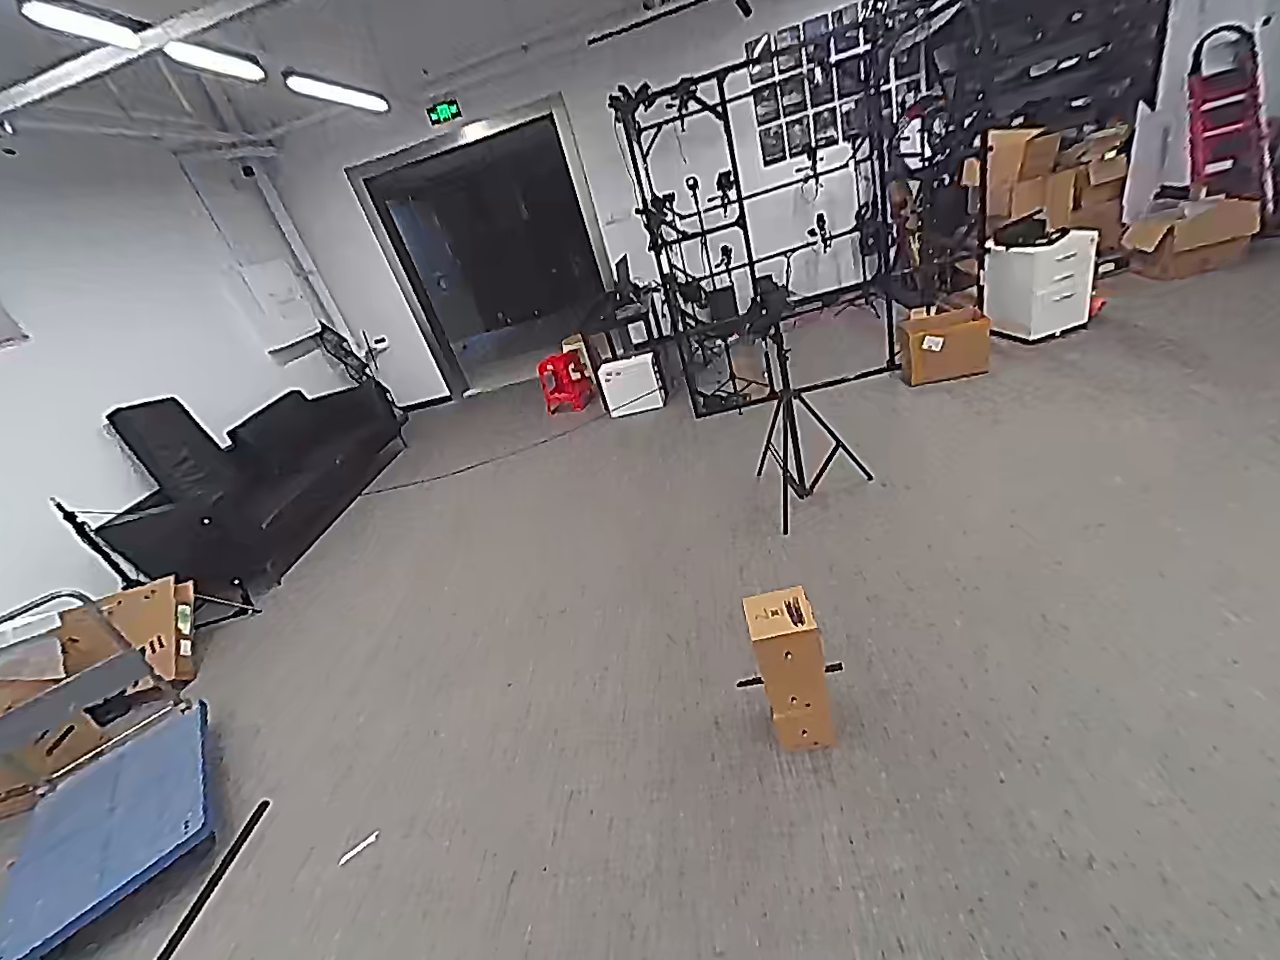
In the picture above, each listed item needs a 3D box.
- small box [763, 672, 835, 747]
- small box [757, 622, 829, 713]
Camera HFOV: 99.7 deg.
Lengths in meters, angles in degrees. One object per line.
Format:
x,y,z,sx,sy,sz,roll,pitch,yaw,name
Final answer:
0.490,0.697,1.666,0.168,0.176,0.179,-14,27,8,small box
0.449,0.554,1.598,0.168,0.176,0.179,-13,28,10,small box
